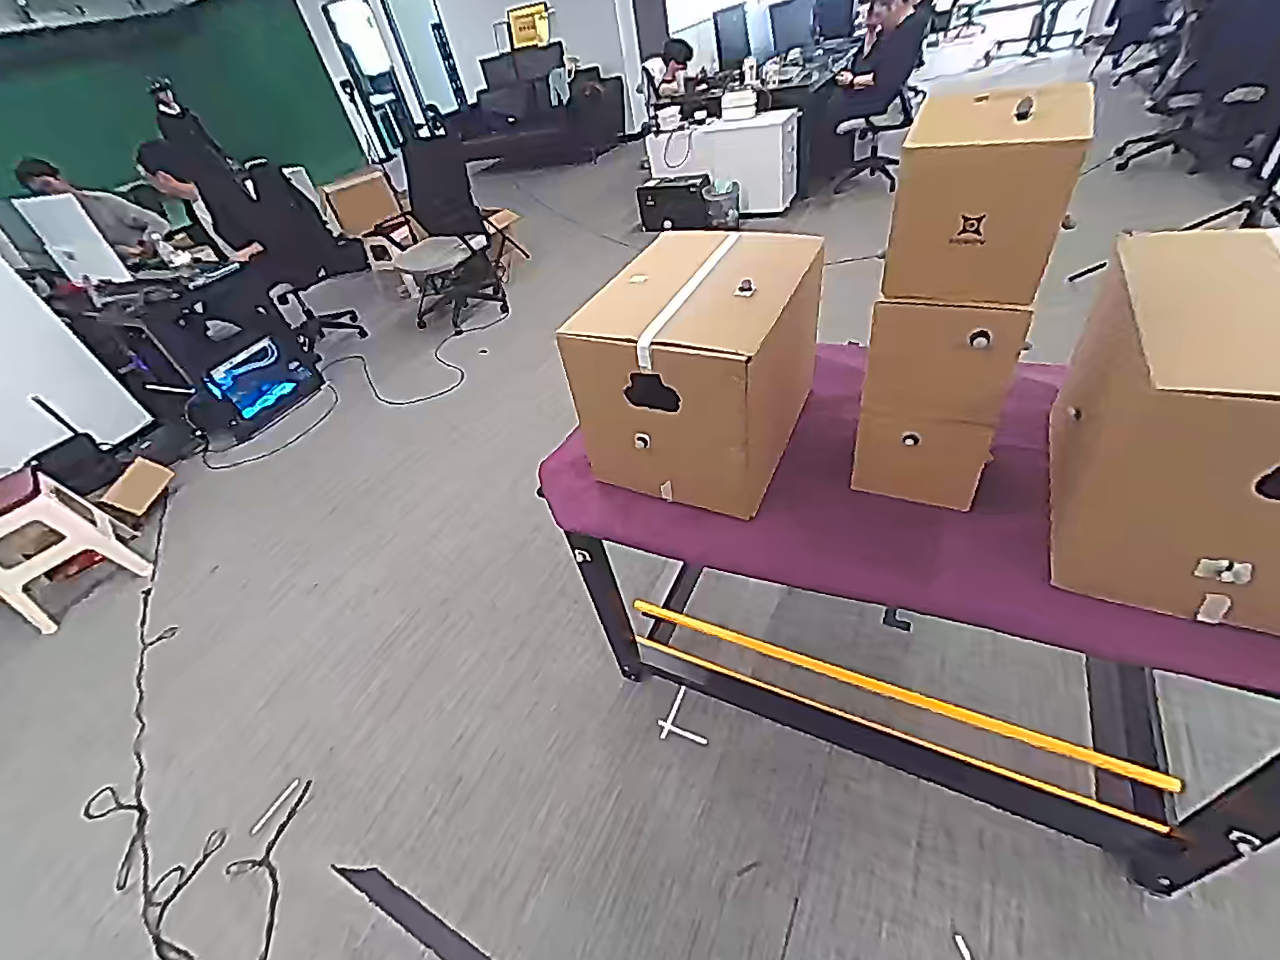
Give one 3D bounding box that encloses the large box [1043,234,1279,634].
[{"bbox_3d":[0.732,-0.071,0.668,0.320,0.320,0.408,12,46,25],"label":"large box"}]
